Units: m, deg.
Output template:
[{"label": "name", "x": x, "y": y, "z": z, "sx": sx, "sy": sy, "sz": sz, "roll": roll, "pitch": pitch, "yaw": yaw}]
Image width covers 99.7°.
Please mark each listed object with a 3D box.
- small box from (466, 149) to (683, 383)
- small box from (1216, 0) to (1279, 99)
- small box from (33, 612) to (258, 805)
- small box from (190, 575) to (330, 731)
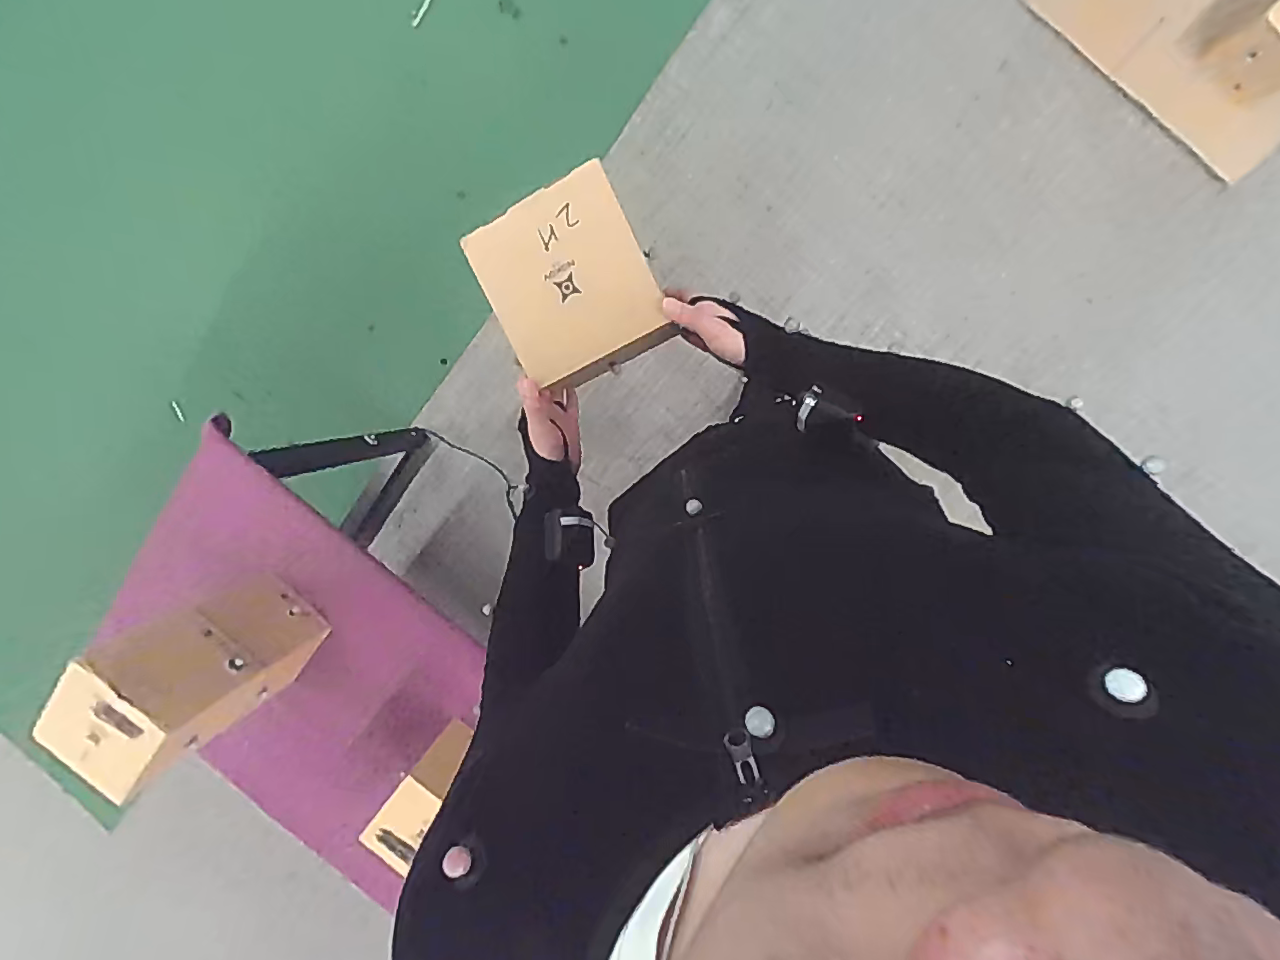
[{"label": "small box", "x": -0.058, "y": -0.225, "z": 0.619, "sx": 0.168, "sy": 0.176, "sz": 0.179, "roll": -24, "pitch": 96, "yaw": 11}, {"label": "small box", "x": 1.399, "y": -0.965, "z": 1.144, "sx": 0.168, "sy": 0.176, "sz": 0.179, "roll": 45, "pitch": 103, "yaw": 0}, {"label": "small box", "x": -0.739, "y": 0.337, "z": 0.829, "sx": 0.168, "sy": 0.176, "sz": 0.179, "roll": 41, "pitch": 106, "yaw": -1}, {"label": "small box", "x": -0.716, "y": 0.307, "z": 0.988, "sx": 0.168, "sy": 0.176, "sz": 0.179, "roll": 41, "pitch": 104, "yaw": -1}]
